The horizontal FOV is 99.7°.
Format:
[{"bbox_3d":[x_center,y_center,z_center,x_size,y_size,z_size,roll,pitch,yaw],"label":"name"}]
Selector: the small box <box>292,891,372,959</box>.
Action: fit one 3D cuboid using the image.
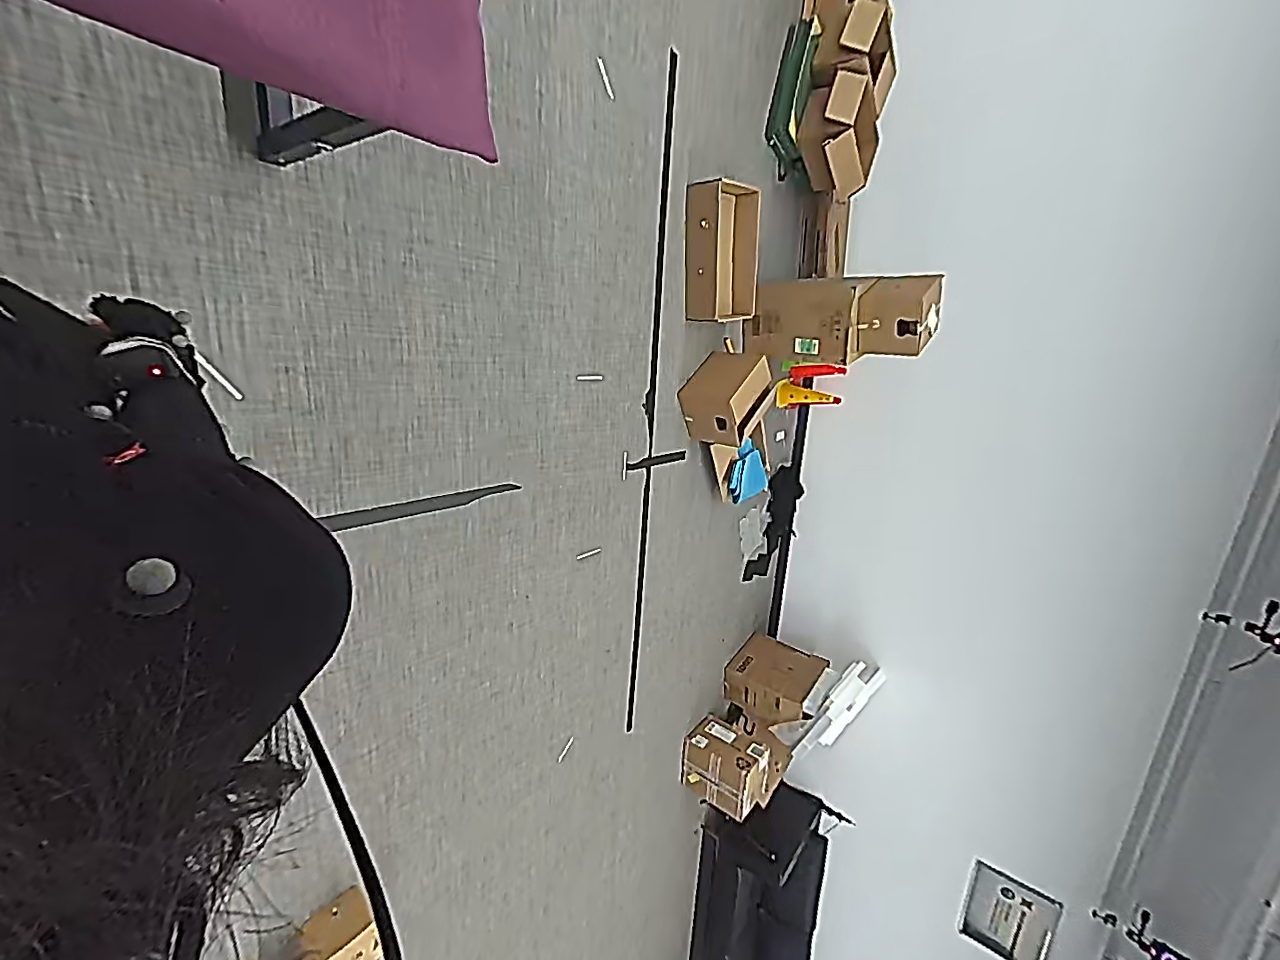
[{"bbox_3d":[-0.990,1.487,1.731,0.179,0.176,0.168,-15,114,-51],"label":"small box"}]
